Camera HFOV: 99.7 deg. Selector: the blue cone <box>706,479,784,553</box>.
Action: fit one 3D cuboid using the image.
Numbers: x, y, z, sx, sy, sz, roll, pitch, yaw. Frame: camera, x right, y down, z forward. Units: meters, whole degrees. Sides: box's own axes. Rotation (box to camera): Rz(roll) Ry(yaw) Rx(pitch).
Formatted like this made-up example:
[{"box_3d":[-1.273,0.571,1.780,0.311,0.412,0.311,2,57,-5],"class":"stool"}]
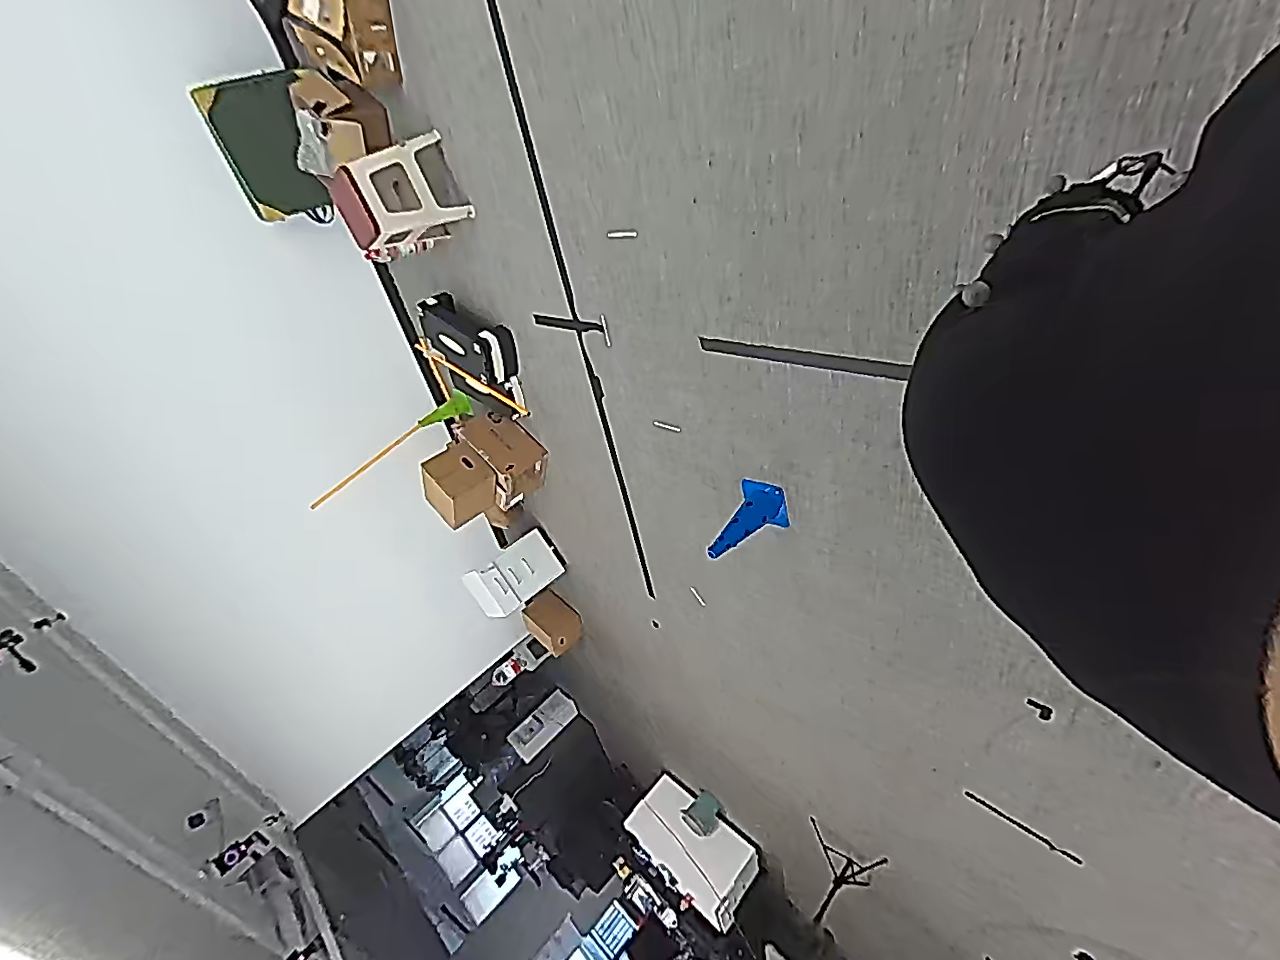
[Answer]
[{"box_3d":[0.387,0.173,2.108,0.193,0.380,0.192,17,133,45],"class":"blue cone"}]
